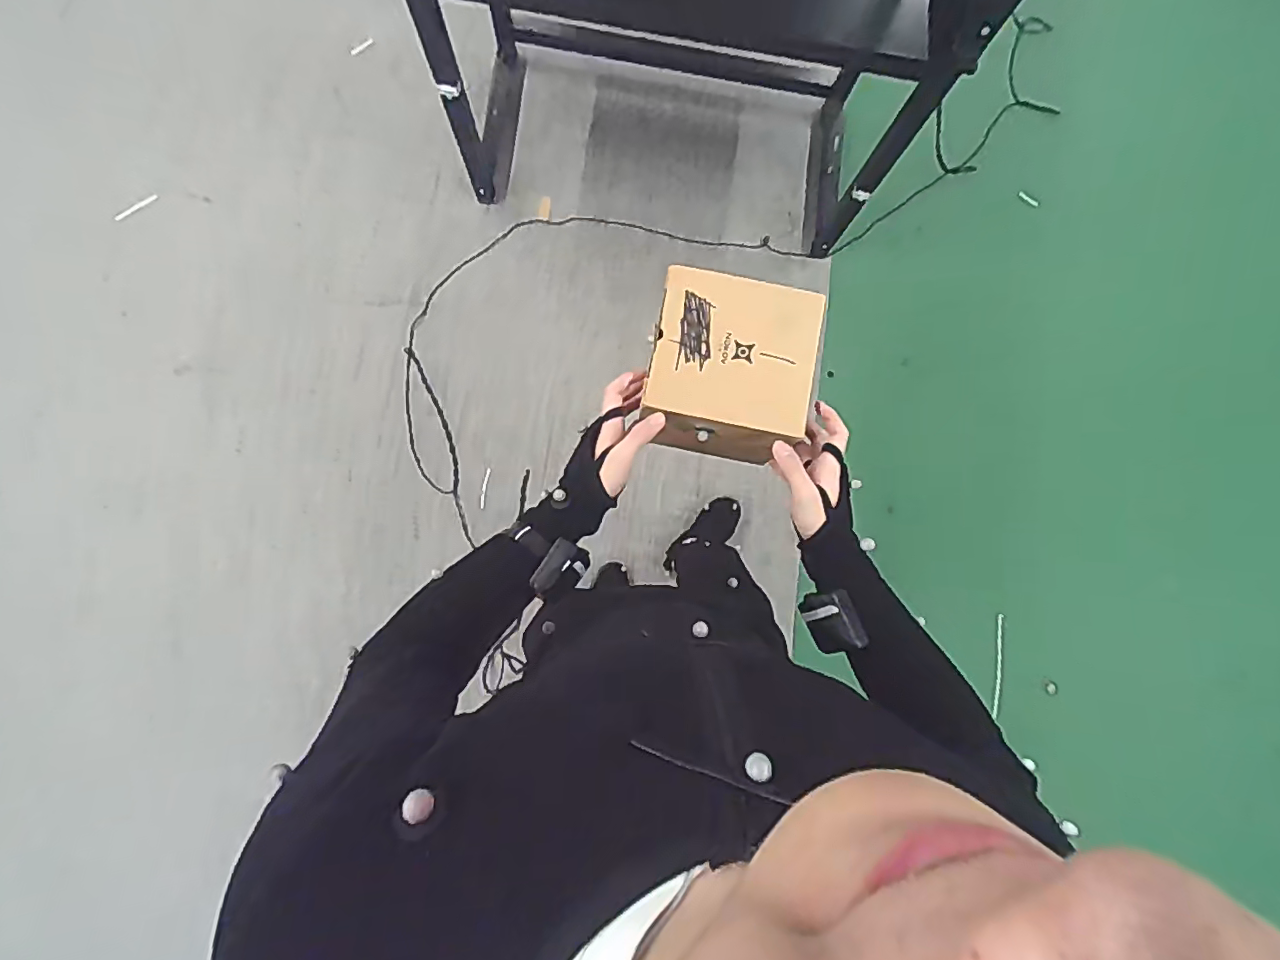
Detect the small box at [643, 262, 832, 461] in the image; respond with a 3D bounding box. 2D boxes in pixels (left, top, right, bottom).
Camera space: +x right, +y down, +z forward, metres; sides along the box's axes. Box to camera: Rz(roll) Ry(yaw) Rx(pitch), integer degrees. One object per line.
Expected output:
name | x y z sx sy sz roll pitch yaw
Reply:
small box | 0.103 -0.127 0.646 0.179 0.176 0.168 12 81 0
